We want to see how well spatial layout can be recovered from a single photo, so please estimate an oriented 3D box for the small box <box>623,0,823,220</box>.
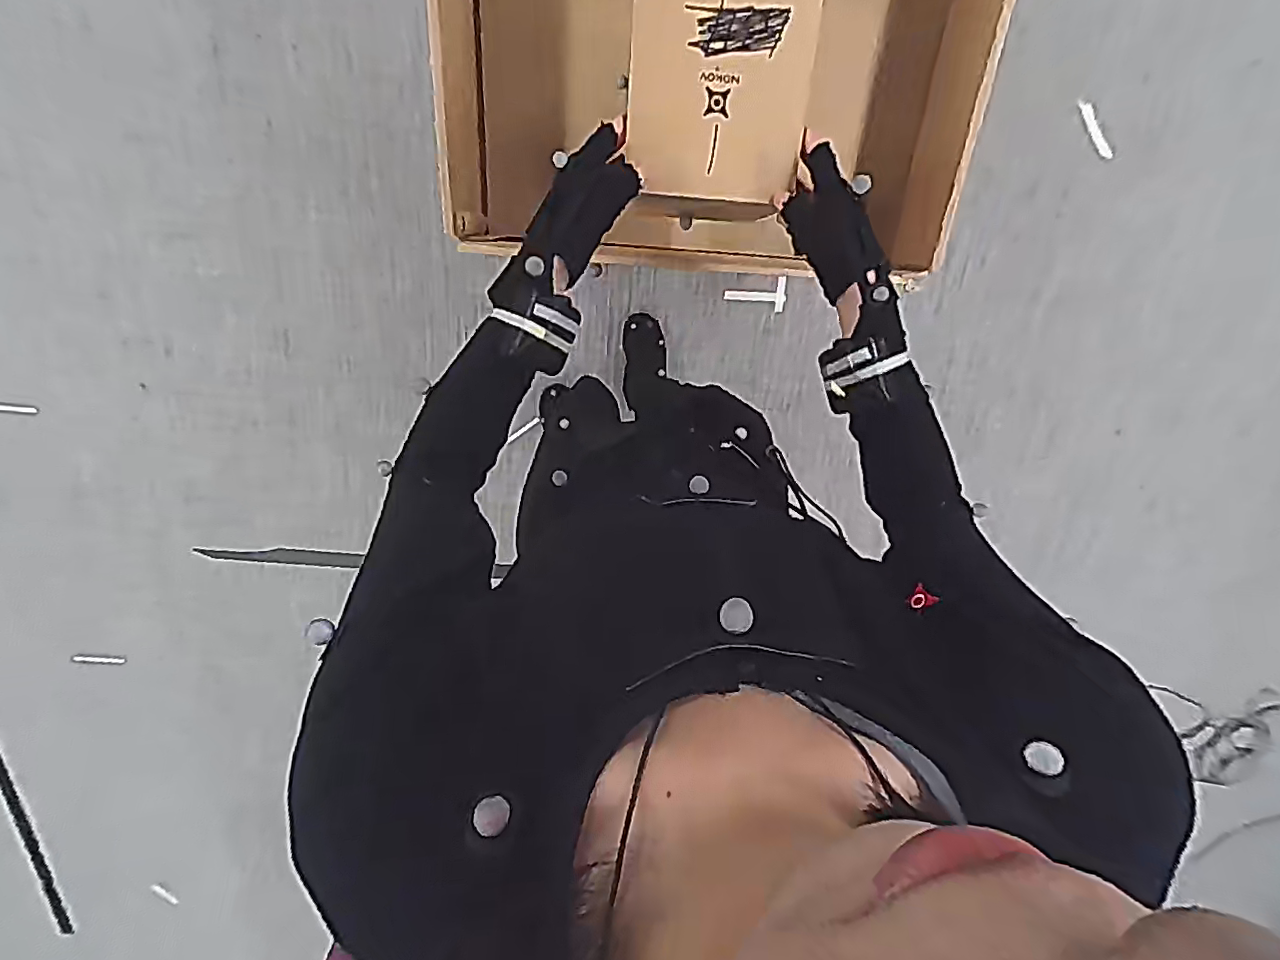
[{"bbox_3d":[0.069,-0.381,0.563,0.168,0.176,0.179,2,110,-4],"label":"small box"}]
